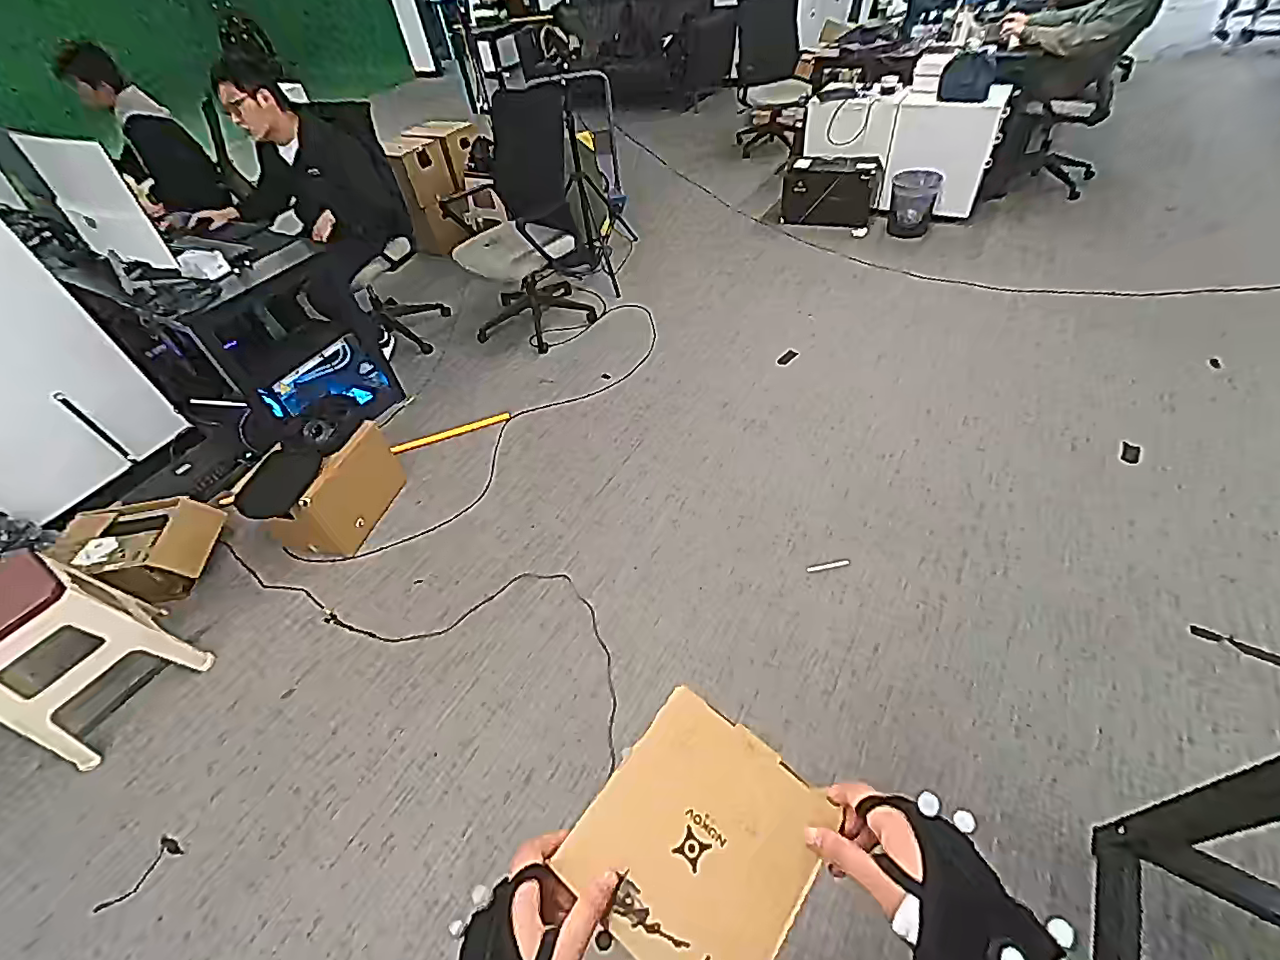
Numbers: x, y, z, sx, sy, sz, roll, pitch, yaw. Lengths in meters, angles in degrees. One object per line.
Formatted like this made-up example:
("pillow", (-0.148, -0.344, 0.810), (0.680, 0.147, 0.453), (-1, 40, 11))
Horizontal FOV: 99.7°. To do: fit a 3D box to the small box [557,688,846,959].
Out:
("small box", (0.050, 0.327, 0.486), (0.168, 0.176, 0.179), (32, 62, 22))
